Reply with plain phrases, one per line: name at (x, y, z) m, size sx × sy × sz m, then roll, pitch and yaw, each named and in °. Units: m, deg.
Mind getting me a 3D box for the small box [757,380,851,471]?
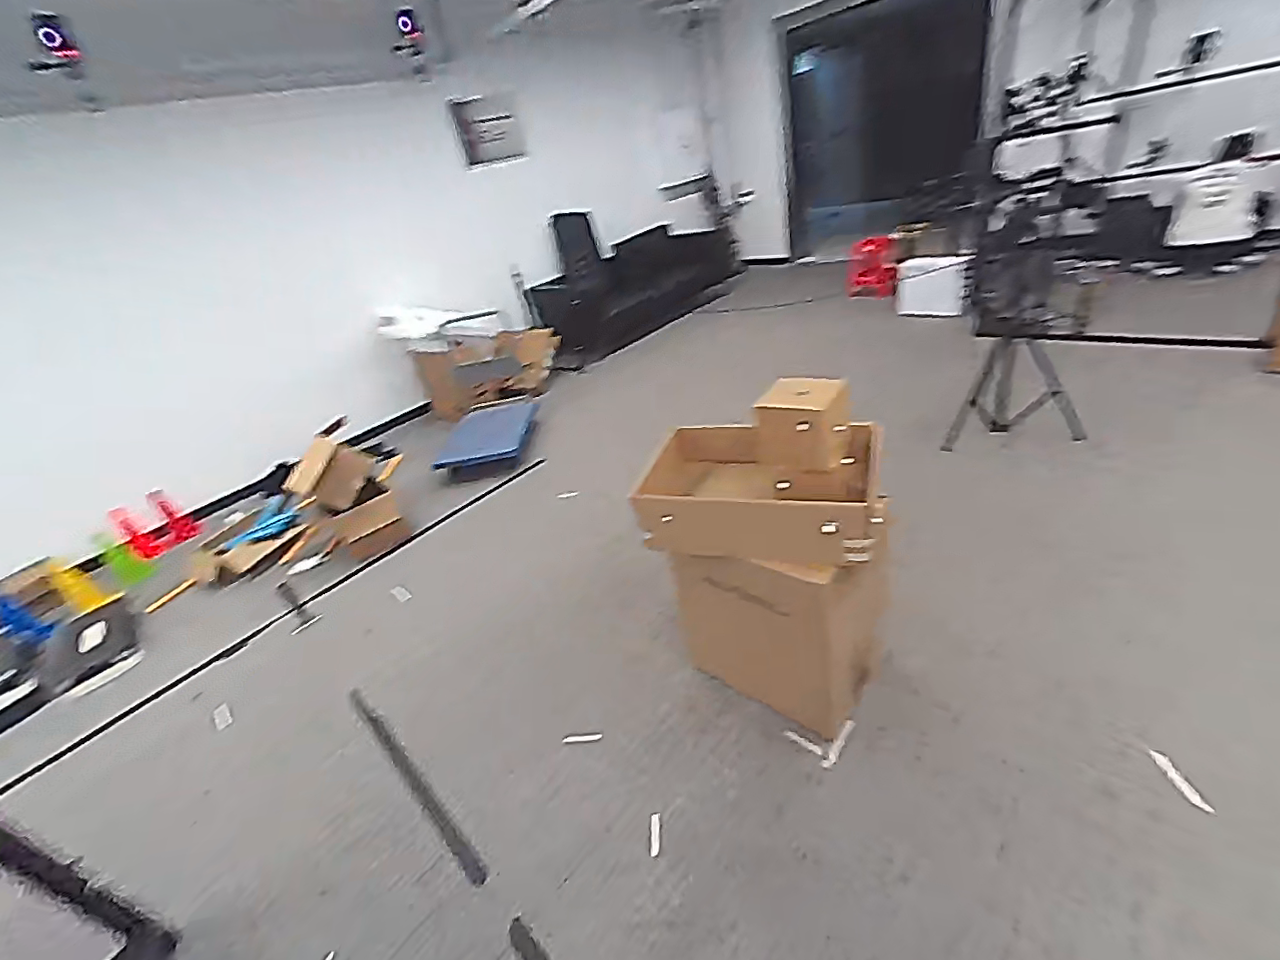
small box at (0.419, -0.137, 1.361) m, size 0.179 × 0.176 × 0.168 m, roll 10°, pitch 38°, yaw 37°
